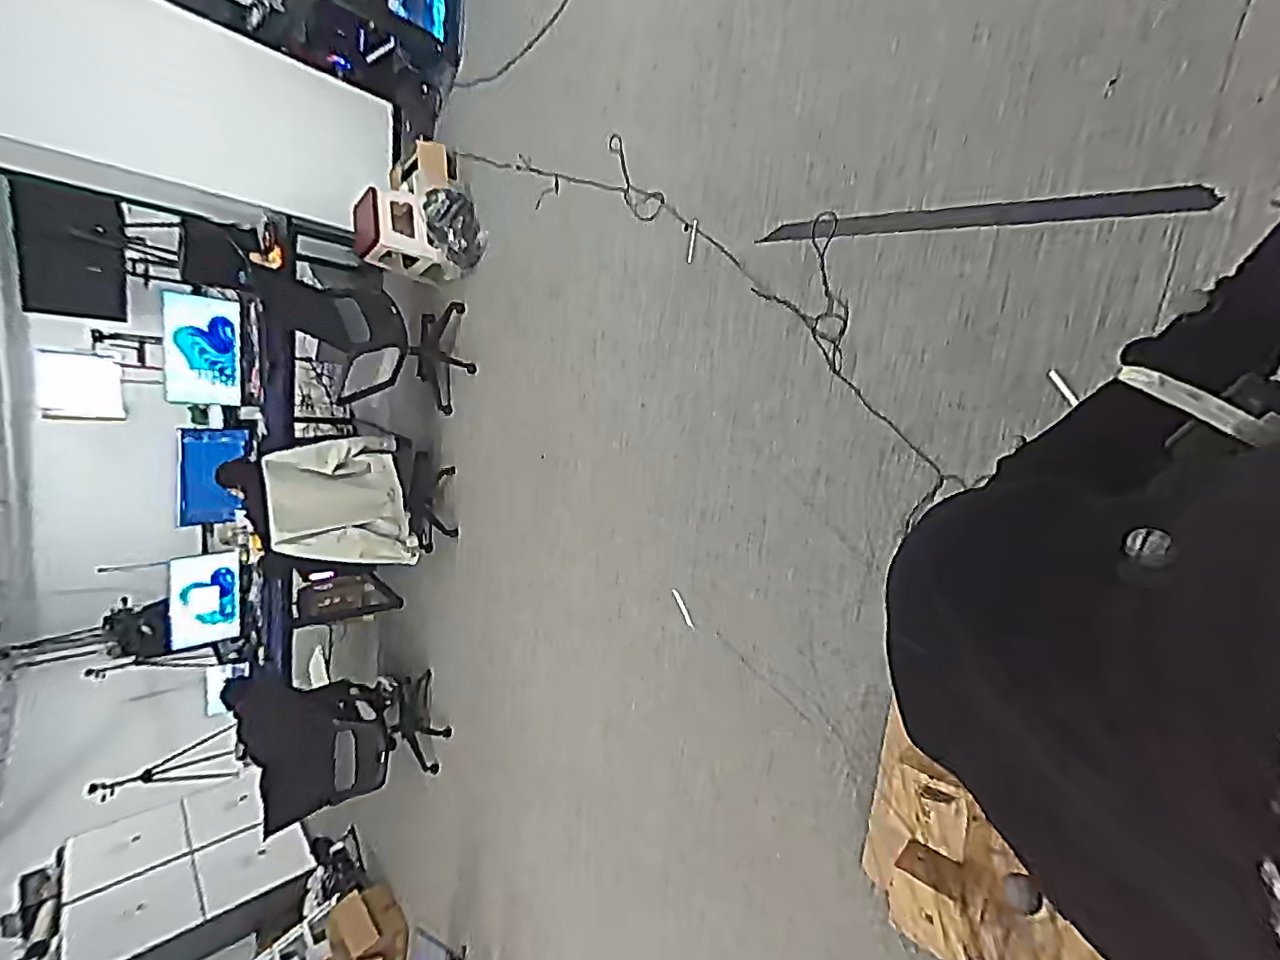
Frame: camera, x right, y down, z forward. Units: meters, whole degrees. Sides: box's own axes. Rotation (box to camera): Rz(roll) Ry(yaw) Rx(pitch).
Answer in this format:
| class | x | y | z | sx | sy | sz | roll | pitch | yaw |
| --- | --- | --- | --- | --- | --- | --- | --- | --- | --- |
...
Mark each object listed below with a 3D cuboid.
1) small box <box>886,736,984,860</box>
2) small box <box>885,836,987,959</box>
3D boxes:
| class | x | y | z | sx | sy | sz | roll | pitch | yaw |
| --- | --- | --- | --- | --- | --- | --- | --- | --- | --- |
| small box | 0.729 | 0.767 | 1.331 | 0.168 | 0.176 | 0.179 | 10 | 100 | 44 |
| small box | 0.736 | 1.027 | 1.345 | 0.179 | 0.176 | 0.168 | 8 | 99 | 43 |
